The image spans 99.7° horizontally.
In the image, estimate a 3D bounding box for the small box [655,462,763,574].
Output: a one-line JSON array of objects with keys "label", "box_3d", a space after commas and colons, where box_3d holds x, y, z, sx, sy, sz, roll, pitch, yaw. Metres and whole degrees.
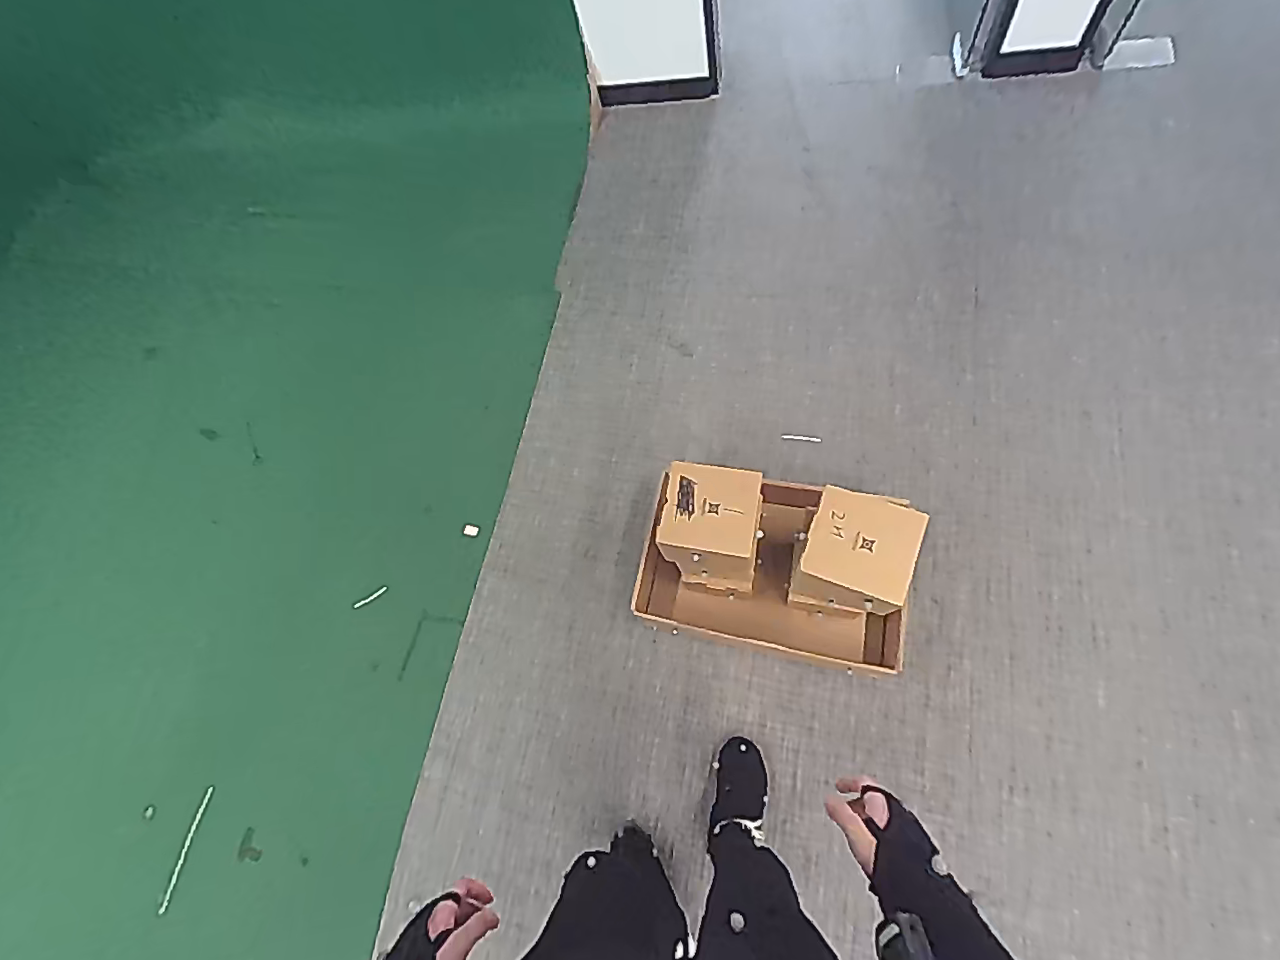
[{"label": "small box", "box_3d": [0.141, 0.080, 1.070, 0.179, 0.176, 0.168, 9, 72, 13]}]

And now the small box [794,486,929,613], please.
[{"label": "small box", "box_3d": [0.394, 0.134, 0.988, 0.179, 0.176, 0.168, 19, 76, 19]}]

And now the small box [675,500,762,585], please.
[{"label": "small box", "box_3d": [0.181, 0.132, 1.221, 0.168, 0.176, 0.179, 7, 72, 13]}]

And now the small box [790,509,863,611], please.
[{"label": "small box", "box_3d": [0.422, 0.175, 1.147, 0.179, 0.176, 0.168, 11, 73, 17]}]
